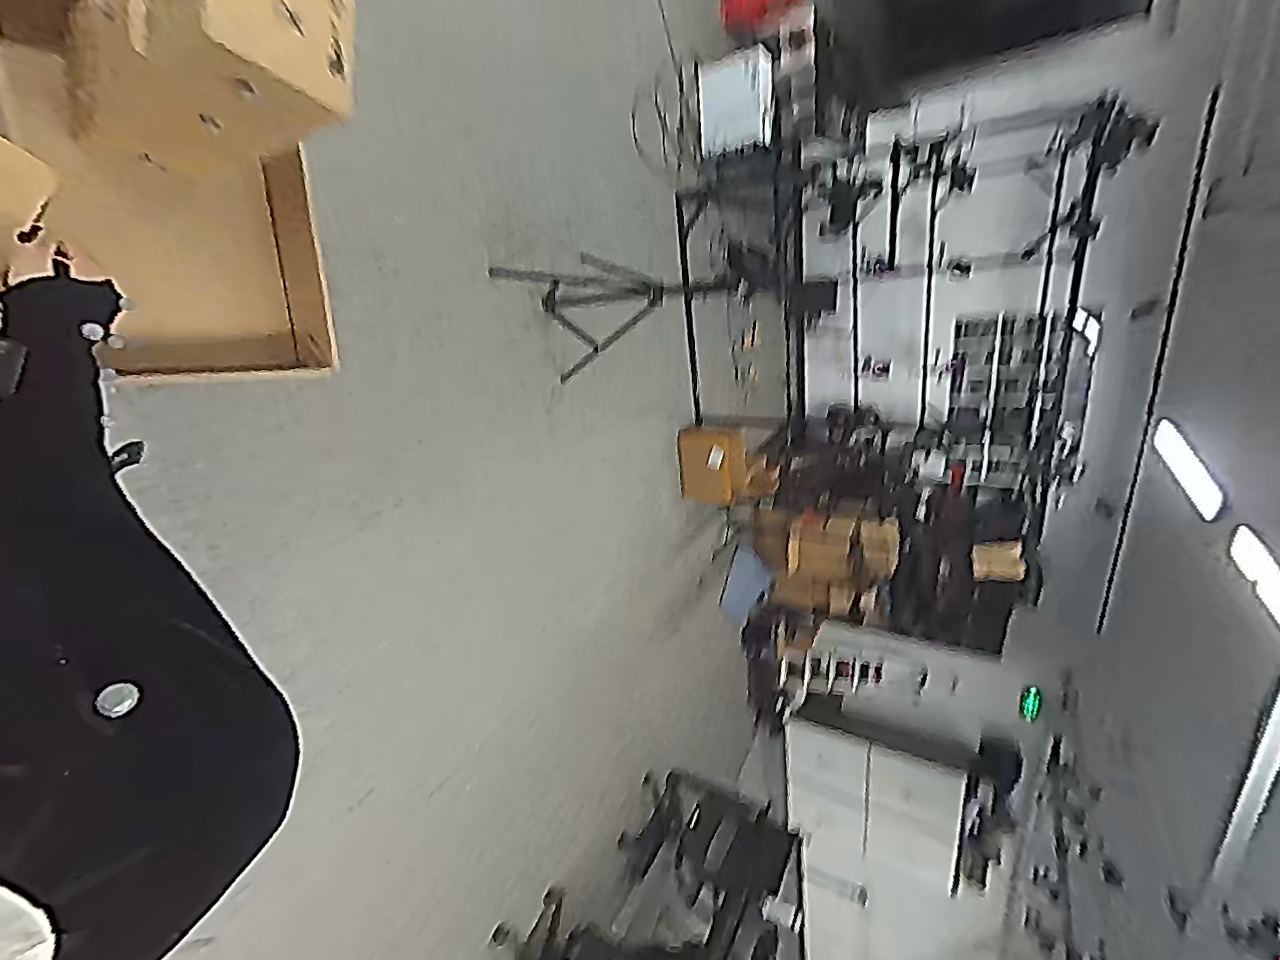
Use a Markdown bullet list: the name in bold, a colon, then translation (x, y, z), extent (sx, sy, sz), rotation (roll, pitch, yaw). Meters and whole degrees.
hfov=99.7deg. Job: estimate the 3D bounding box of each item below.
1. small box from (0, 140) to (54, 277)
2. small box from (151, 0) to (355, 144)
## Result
- **small box**: translation (-0.713, -0.262, 0.487), extent (0.179, 0.176, 0.168), rotation (38, 54, -60)
- **small box**: translation (-0.513, -0.584, 0.720), extent (0.179, 0.176, 0.168), rotation (0, 94, -59)
